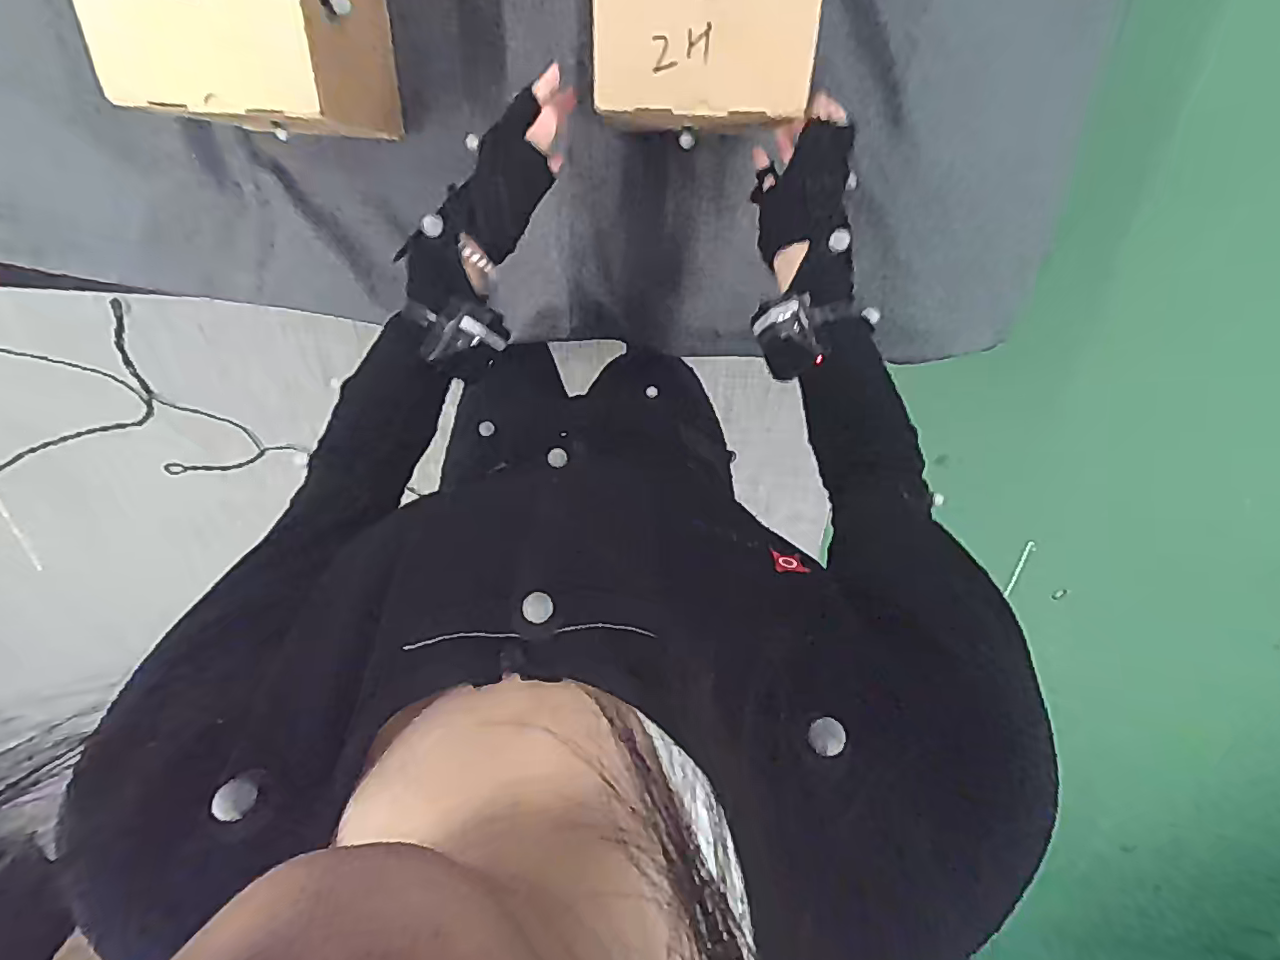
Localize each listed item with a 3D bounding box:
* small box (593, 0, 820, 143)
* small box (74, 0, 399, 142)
[{"bbox_3d":[0.048,-0.395,0.451,0.168,0.176,0.179,2,118,0],"label":"small box"},{"bbox_3d":[-0.323,-0.397,0.452,0.168,0.176,0.179,3,119,-2],"label":"small box"}]
